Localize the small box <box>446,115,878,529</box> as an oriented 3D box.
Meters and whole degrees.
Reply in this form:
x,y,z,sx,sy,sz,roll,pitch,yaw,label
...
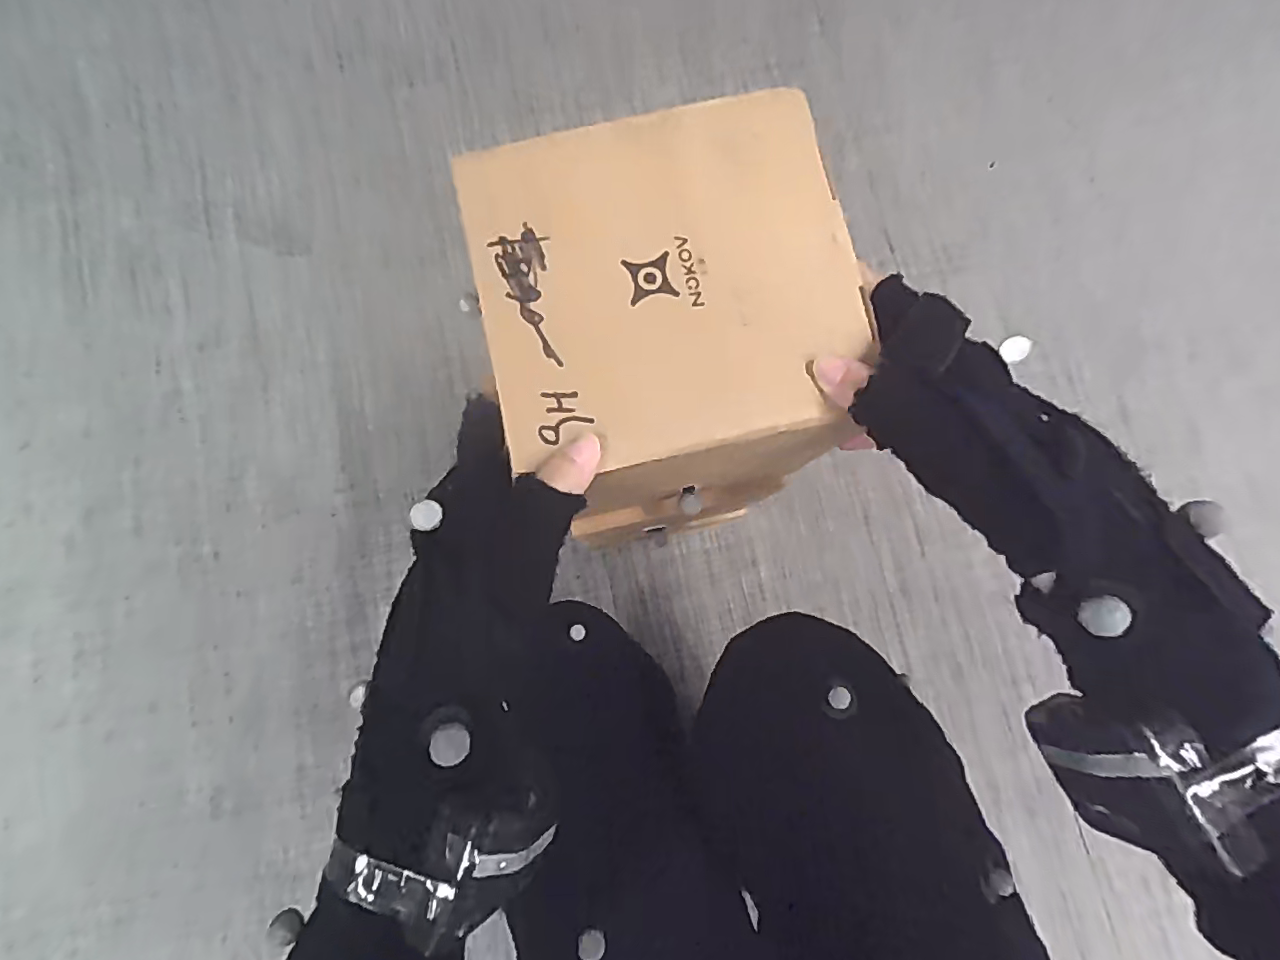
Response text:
x,y,z,sx,sy,sz,roll,pitch,yaw,label
0.006,-0.071,0.328,0.179,0.176,0.168,-12,79,-2,small box

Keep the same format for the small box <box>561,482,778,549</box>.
x,y,z,sx,sy,sz,roll,pitch,yaw,label
0.006,-0.039,0.489,0.168,0.176,0.179,-12,82,-2,small box
